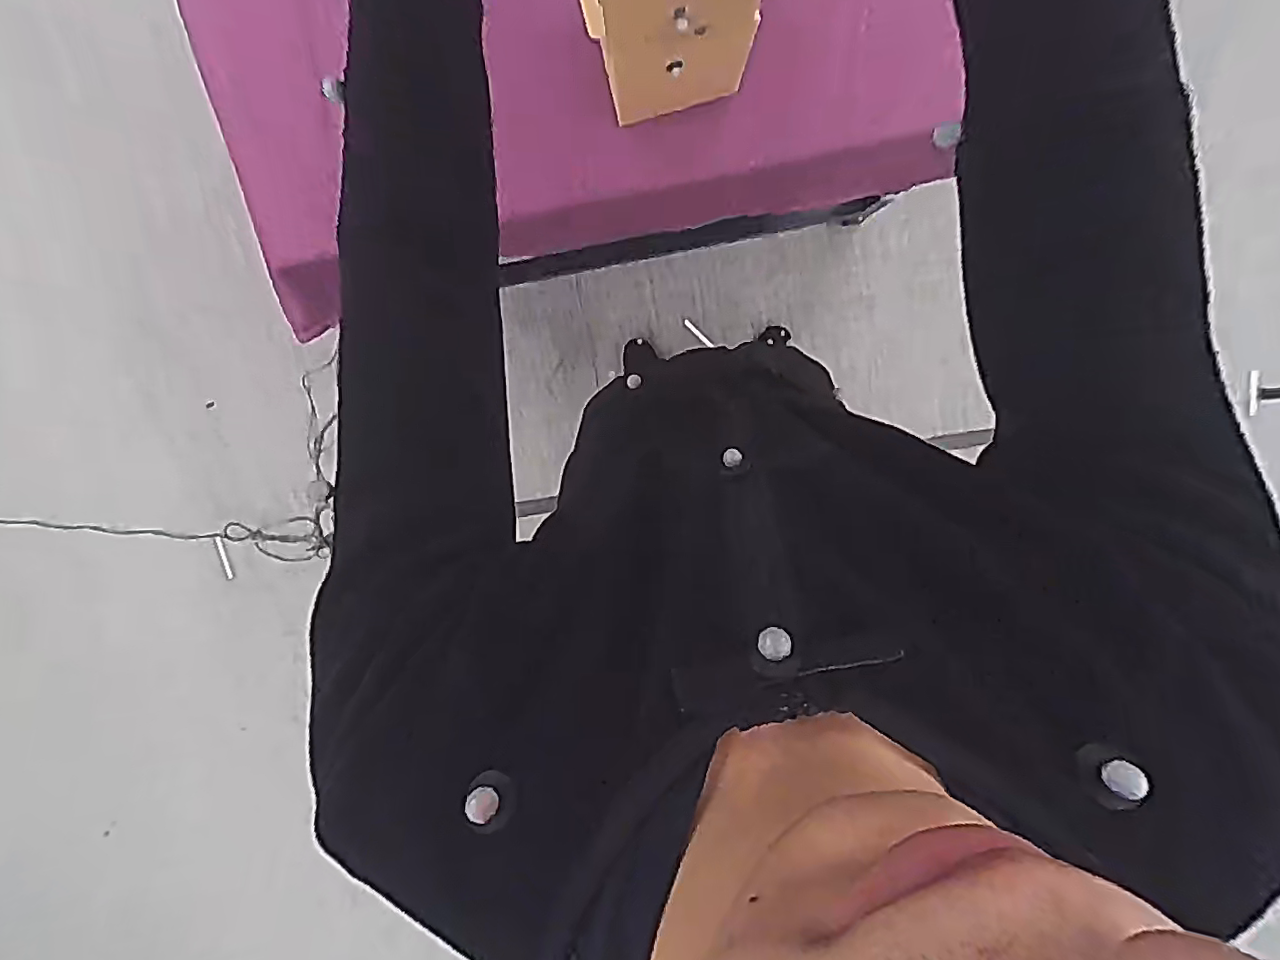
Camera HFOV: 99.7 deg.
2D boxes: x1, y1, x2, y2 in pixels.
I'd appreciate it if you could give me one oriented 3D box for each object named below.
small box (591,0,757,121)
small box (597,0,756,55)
[{"bbox_3d":[0.032,-0.590,0.679,0.179,0.176,0.168,-14,101,3],"label":"small box"},{"bbox_3d":[0.029,-0.562,0.517,0.168,0.176,0.179,-8,101,3],"label":"small box"}]
